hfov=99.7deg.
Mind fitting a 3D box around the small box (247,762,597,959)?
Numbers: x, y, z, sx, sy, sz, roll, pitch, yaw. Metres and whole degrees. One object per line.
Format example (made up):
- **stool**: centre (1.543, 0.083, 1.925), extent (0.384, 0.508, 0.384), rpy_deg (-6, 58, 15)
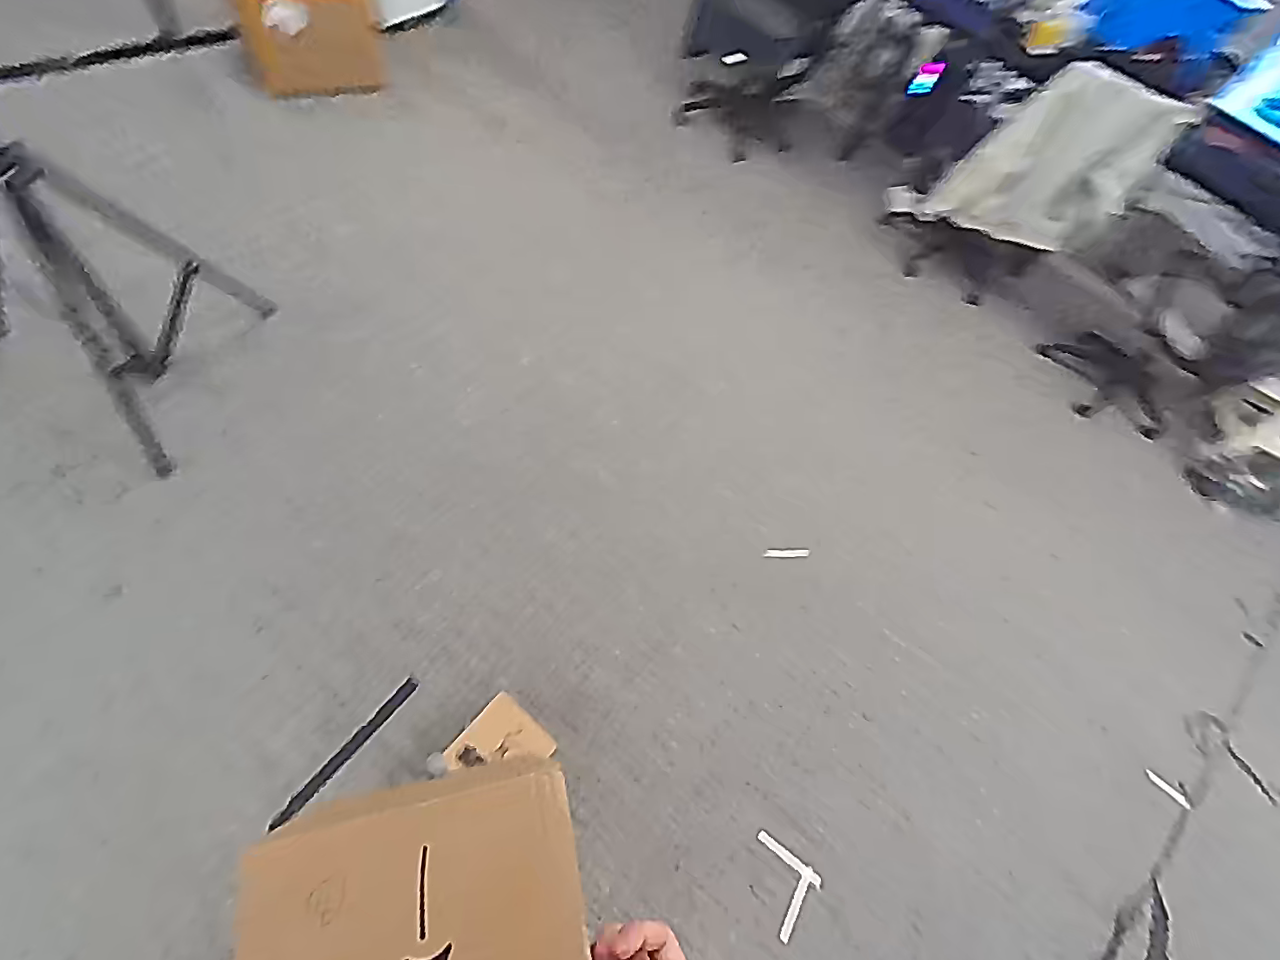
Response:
- **small box**: centre (-0.124, 0.288, 0.334), extent (0.168, 0.176, 0.179), rpy_deg (-3, 66, -20)
